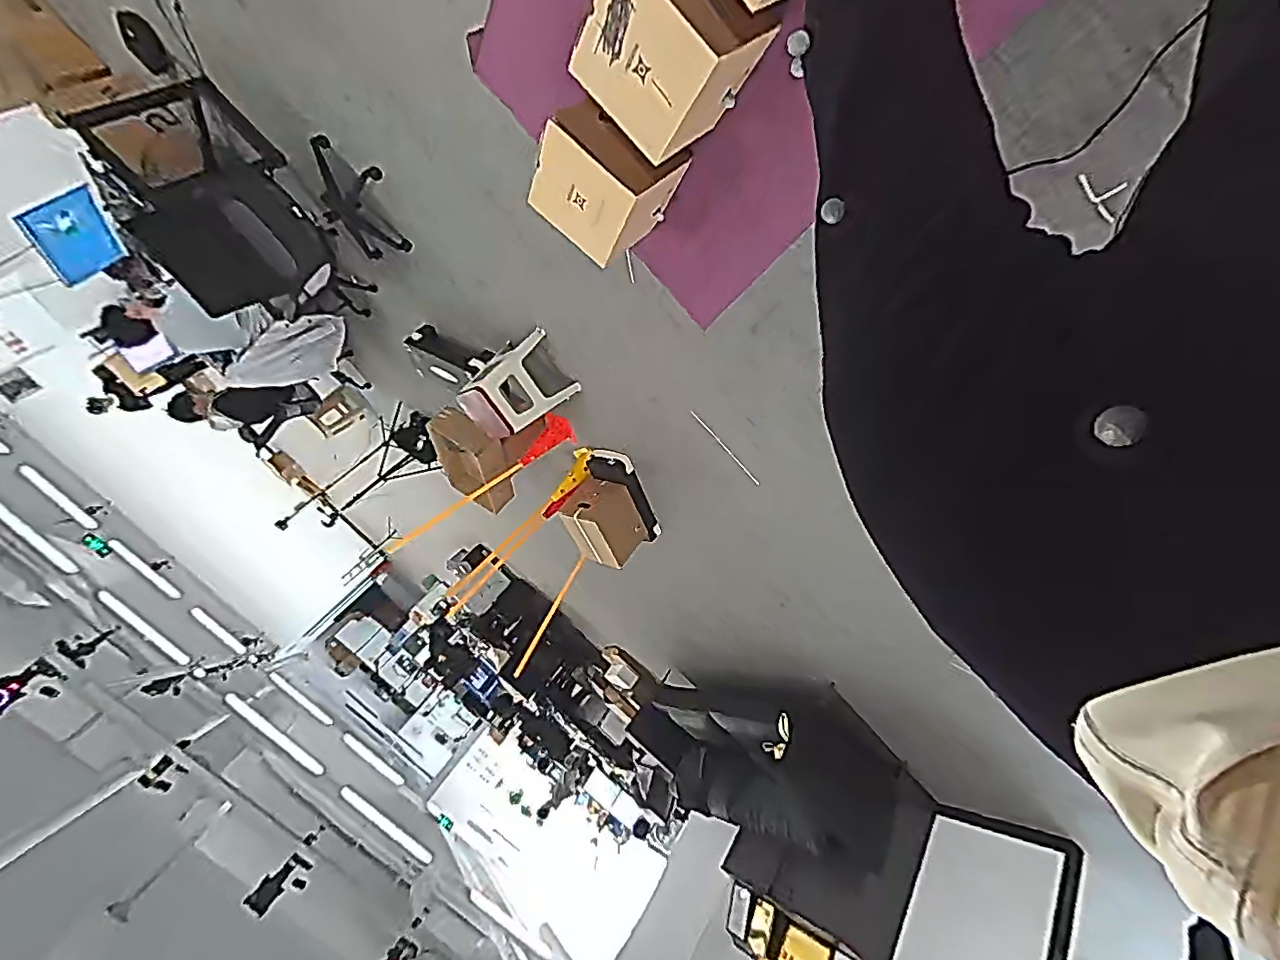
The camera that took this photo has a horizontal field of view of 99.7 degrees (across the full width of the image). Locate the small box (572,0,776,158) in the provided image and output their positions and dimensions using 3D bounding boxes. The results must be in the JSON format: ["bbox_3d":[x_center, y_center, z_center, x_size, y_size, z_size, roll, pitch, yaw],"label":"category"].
[{"bbox_3d":[0.045,-0.590,0.729,0.179,0.176,0.168,44,151,-8],"label":"small box"}]

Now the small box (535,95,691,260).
[{"bbox_3d":[-0.047,-0.526,0.927,0.179,0.176,0.168,43,152,-4],"label":"small box"}]
